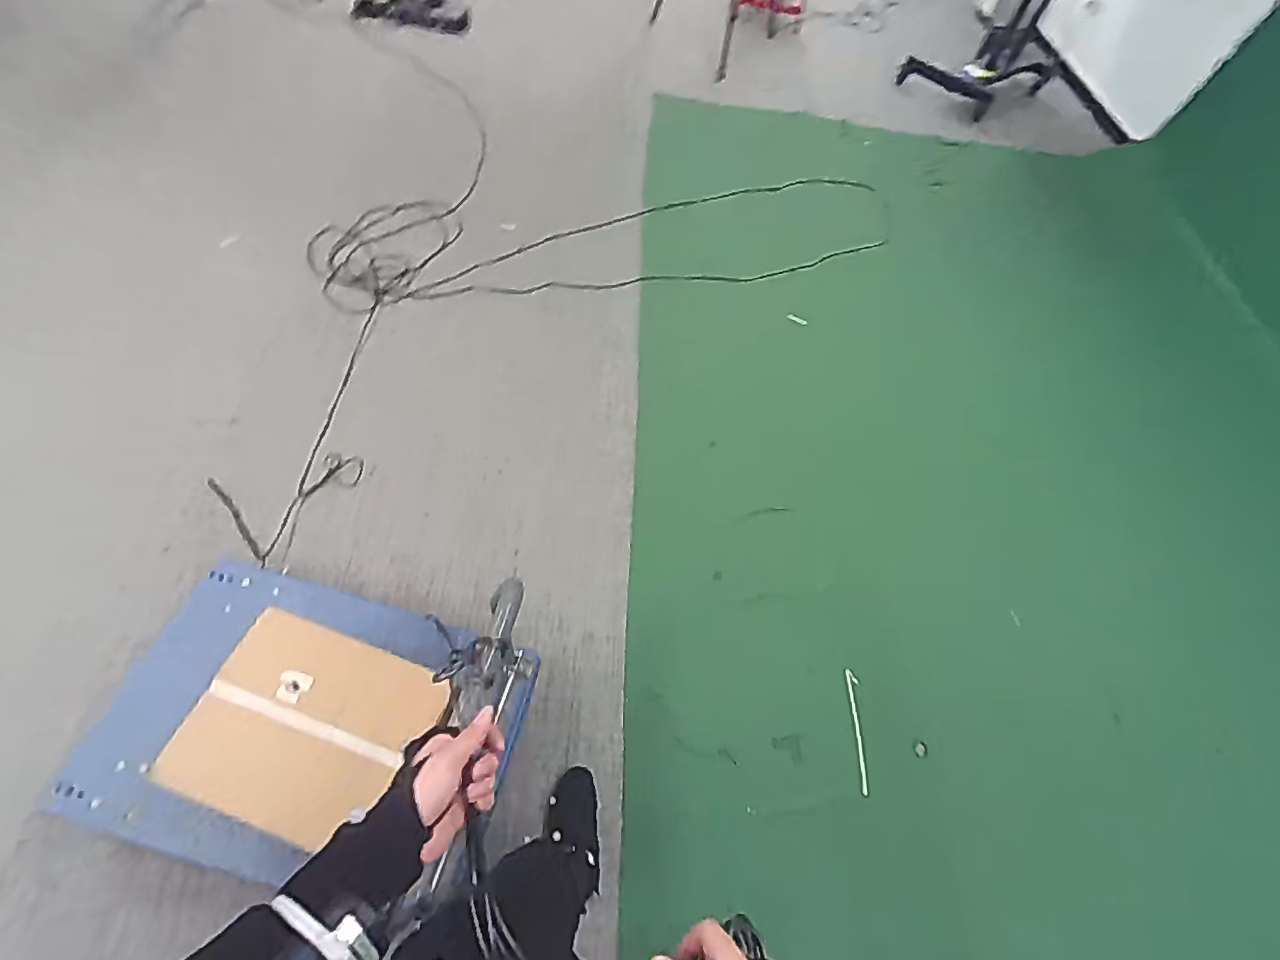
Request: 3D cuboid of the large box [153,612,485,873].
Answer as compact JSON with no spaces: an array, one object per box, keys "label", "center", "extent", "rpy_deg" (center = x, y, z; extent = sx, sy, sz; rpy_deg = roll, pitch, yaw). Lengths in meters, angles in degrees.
[{"label":"large box","center":[-0.576,0.509,1.069],"extent":[0.408,0.320,0.320],"rpy_deg":[20,60,5]}]
